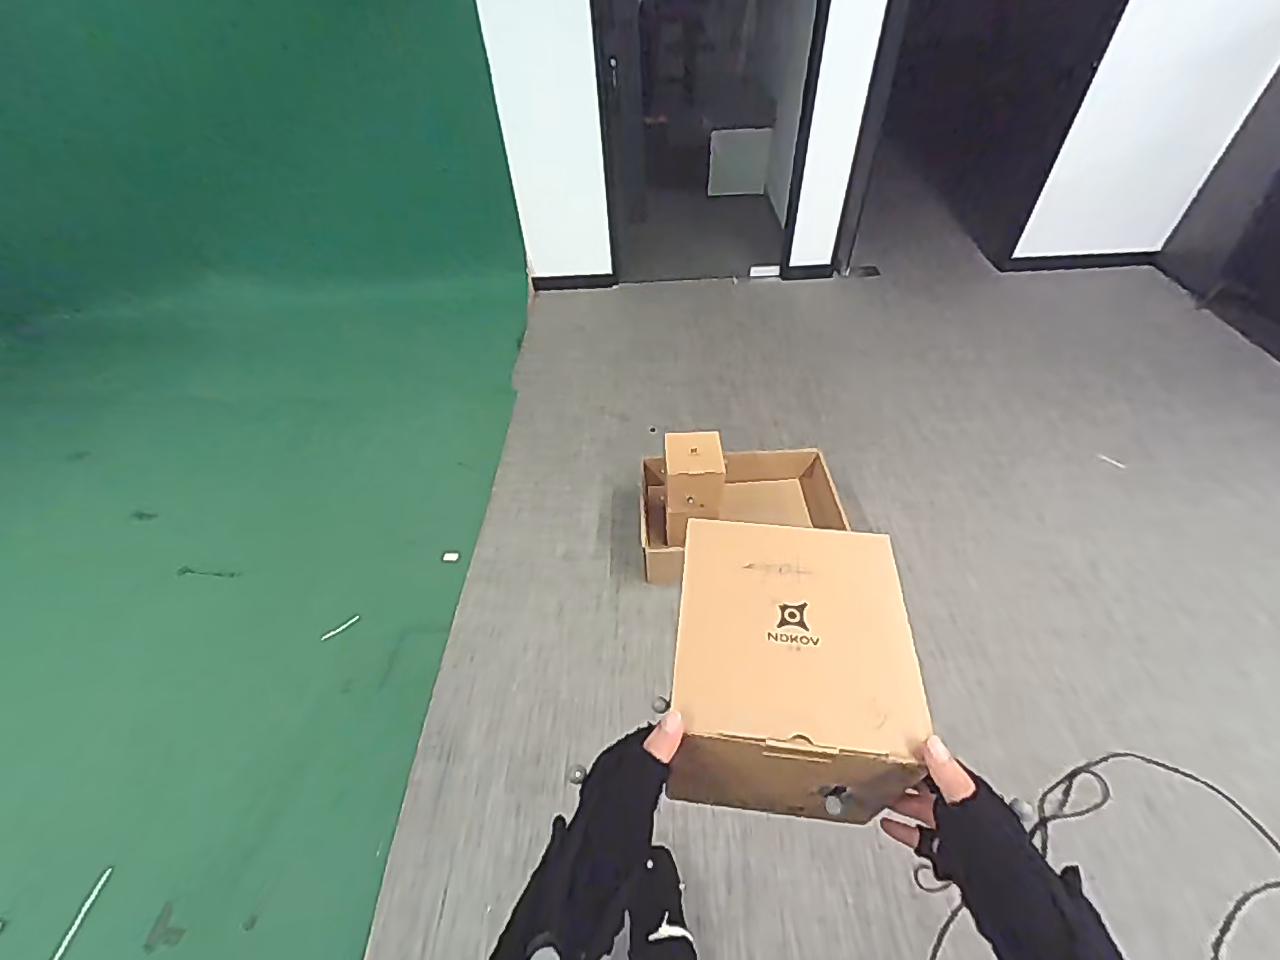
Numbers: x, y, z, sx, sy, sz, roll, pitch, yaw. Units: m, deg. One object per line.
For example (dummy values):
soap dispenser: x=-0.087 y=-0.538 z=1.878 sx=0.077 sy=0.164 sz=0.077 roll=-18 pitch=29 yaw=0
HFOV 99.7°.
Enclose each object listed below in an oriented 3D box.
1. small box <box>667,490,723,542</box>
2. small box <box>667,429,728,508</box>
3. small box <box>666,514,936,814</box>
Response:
small box: x=0.171 y=0.080 z=1.731 sx=0.168 sy=0.176 sz=0.179 roll=-1 pitch=46 yaw=2
small box: x=0.165 y=-0.034 z=1.615 sx=0.168 sy=0.176 sz=0.179 roll=-2 pitch=46 yaw=1
small box: x=0.112 y=0.153 z=0.444 sx=0.168 sy=0.176 sz=0.179 roll=5 pitch=47 yaw=6
